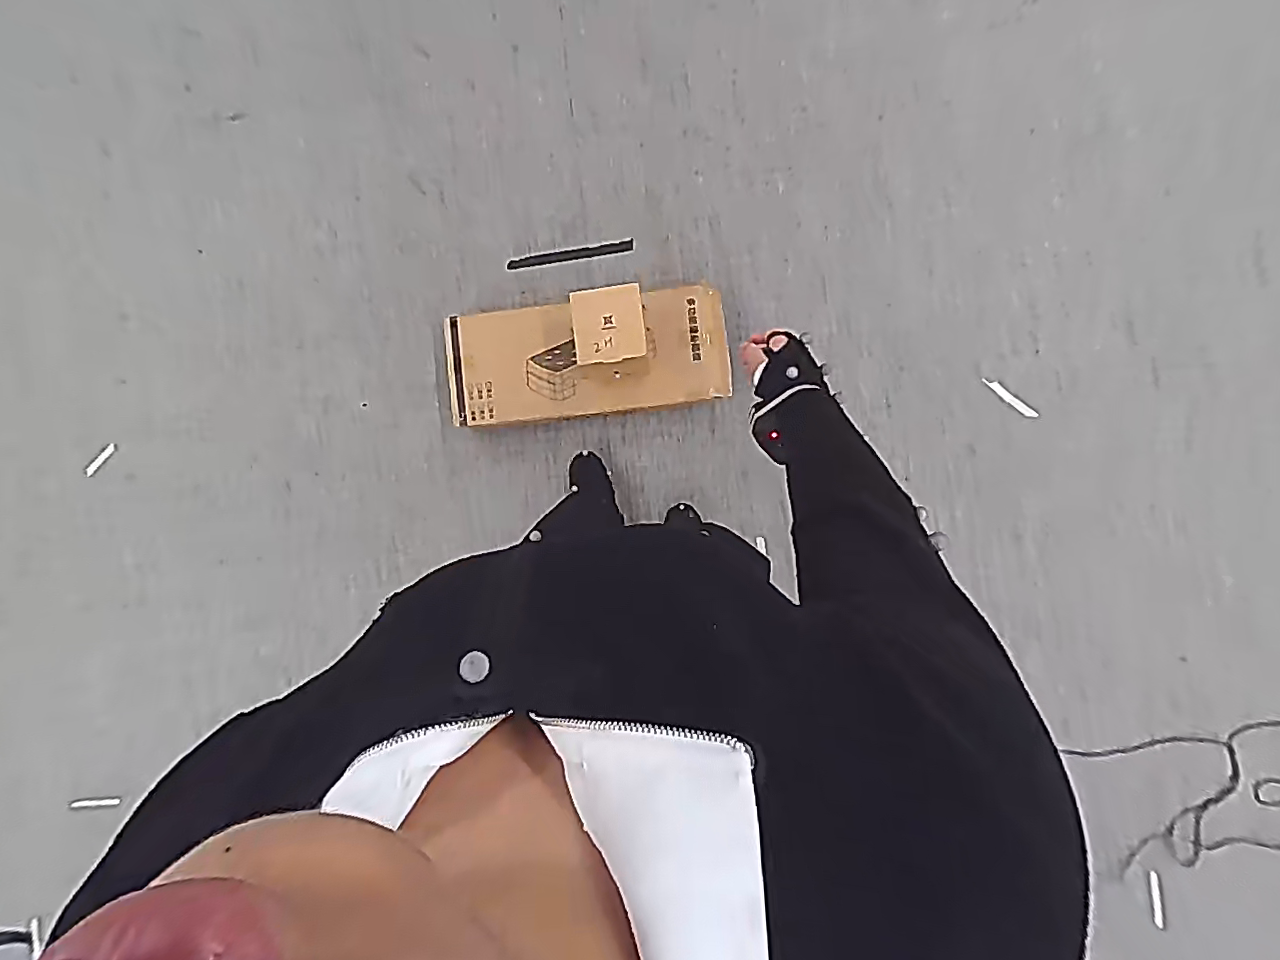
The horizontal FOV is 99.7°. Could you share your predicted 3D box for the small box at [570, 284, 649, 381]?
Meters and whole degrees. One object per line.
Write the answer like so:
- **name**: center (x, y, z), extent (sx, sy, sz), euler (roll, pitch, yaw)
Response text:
- **small box**: center (-0.069, -0.355, 1.325), extent (0.168, 0.176, 0.179), euler (-7, 88, 4)
